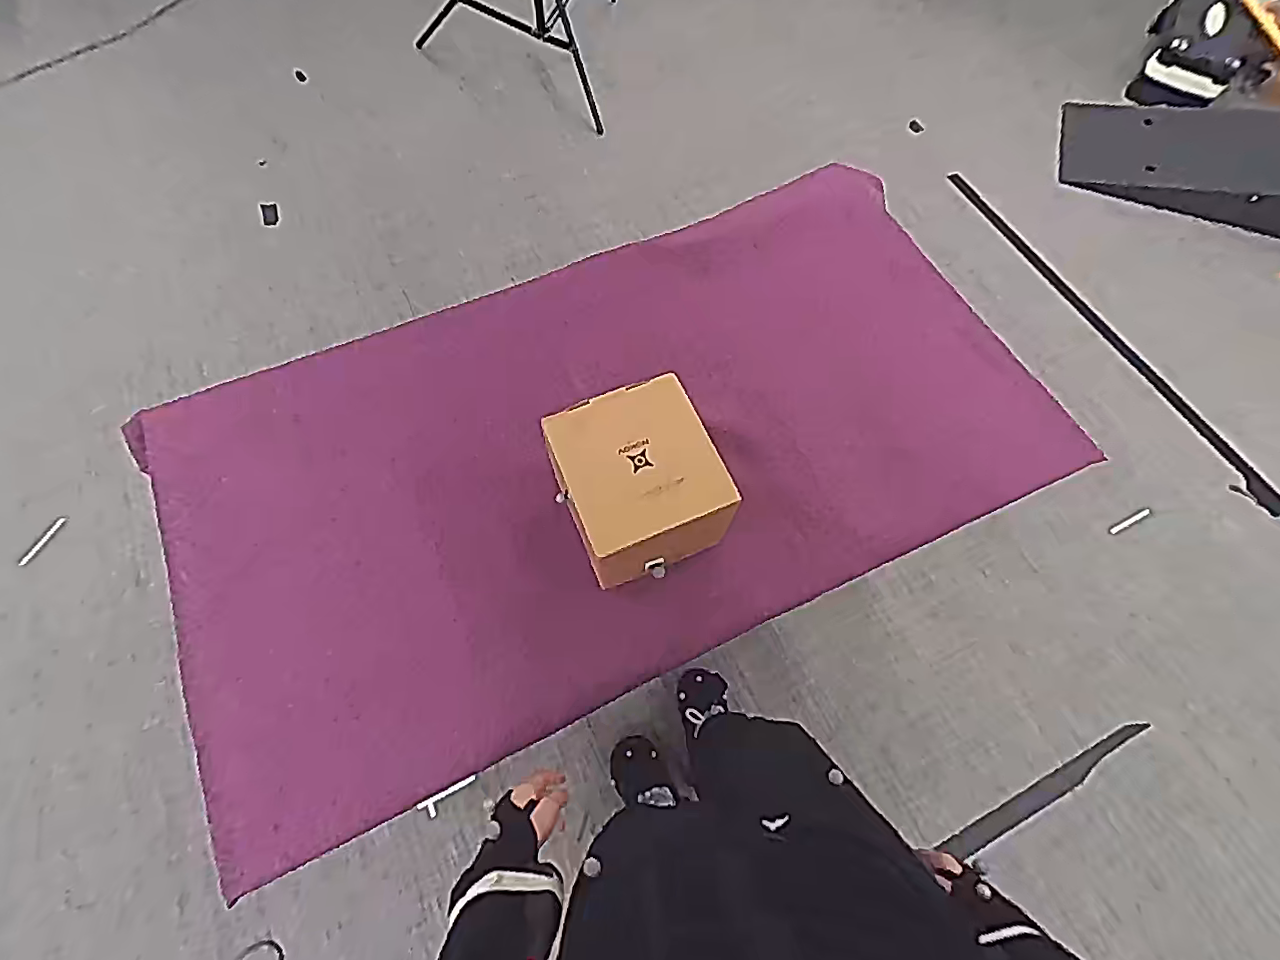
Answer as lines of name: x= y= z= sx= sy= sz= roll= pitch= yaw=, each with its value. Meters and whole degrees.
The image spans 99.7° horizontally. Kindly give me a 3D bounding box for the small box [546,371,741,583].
small box: x=-0.003 y=0.004 z=0.658 sx=0.168 sy=0.176 sz=0.179 roll=-21 pitch=70 yaw=-10
